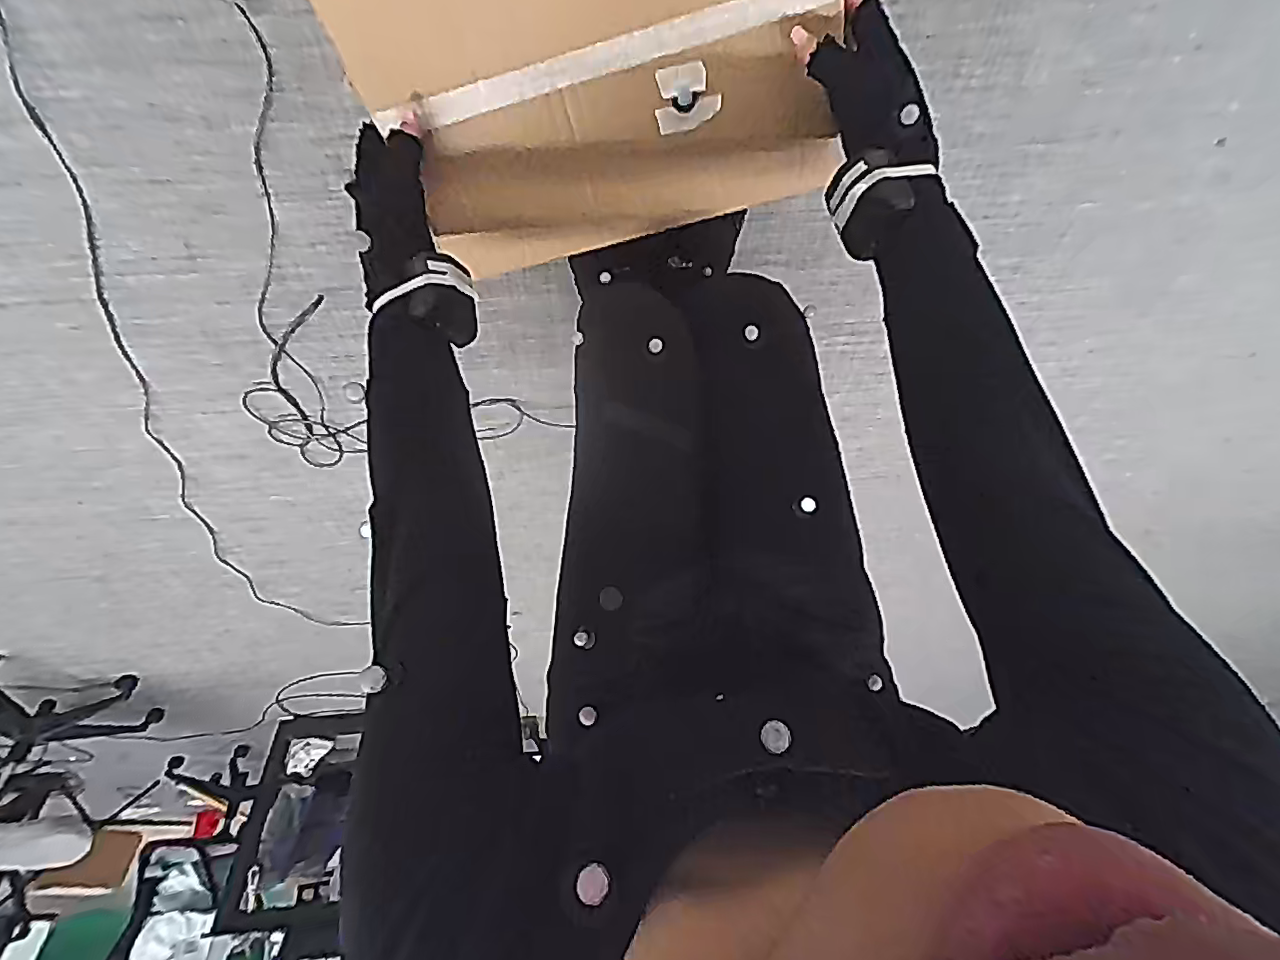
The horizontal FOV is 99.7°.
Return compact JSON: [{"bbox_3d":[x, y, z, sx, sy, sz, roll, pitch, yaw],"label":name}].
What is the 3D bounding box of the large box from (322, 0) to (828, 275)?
[{"bbox_3d":[-0.052,-0.473,0.564,0.408,0.320,0.320,-13,137,6],"label":"large box"}]
